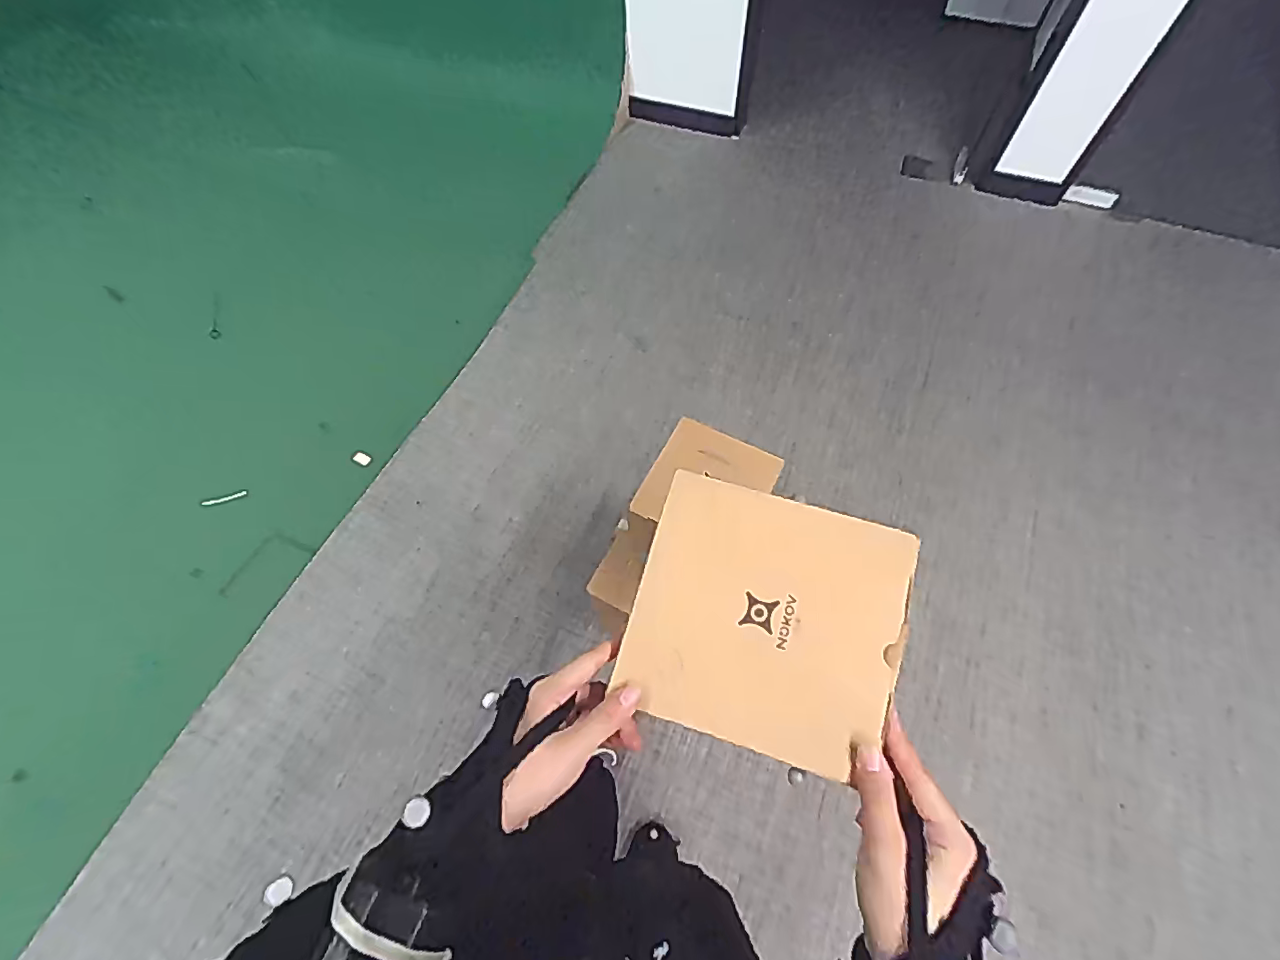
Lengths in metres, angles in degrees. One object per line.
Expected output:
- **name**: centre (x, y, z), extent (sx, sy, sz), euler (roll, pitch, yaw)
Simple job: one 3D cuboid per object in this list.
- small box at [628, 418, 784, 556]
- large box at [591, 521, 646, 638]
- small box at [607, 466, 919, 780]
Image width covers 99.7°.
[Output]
- **small box**: centre (0.095, 0.045, 0.821), extent (0.168, 0.176, 0.179), euler (25, 64, 12)
- **large box**: centre (0.147, 0.244, 1.176), extent (0.408, 0.320, 0.320), euler (25, 66, 13)
- **small box**: centre (0.090, 0.109, 0.436), extent (0.179, 0.176, 0.168), euler (16, 75, 9)
